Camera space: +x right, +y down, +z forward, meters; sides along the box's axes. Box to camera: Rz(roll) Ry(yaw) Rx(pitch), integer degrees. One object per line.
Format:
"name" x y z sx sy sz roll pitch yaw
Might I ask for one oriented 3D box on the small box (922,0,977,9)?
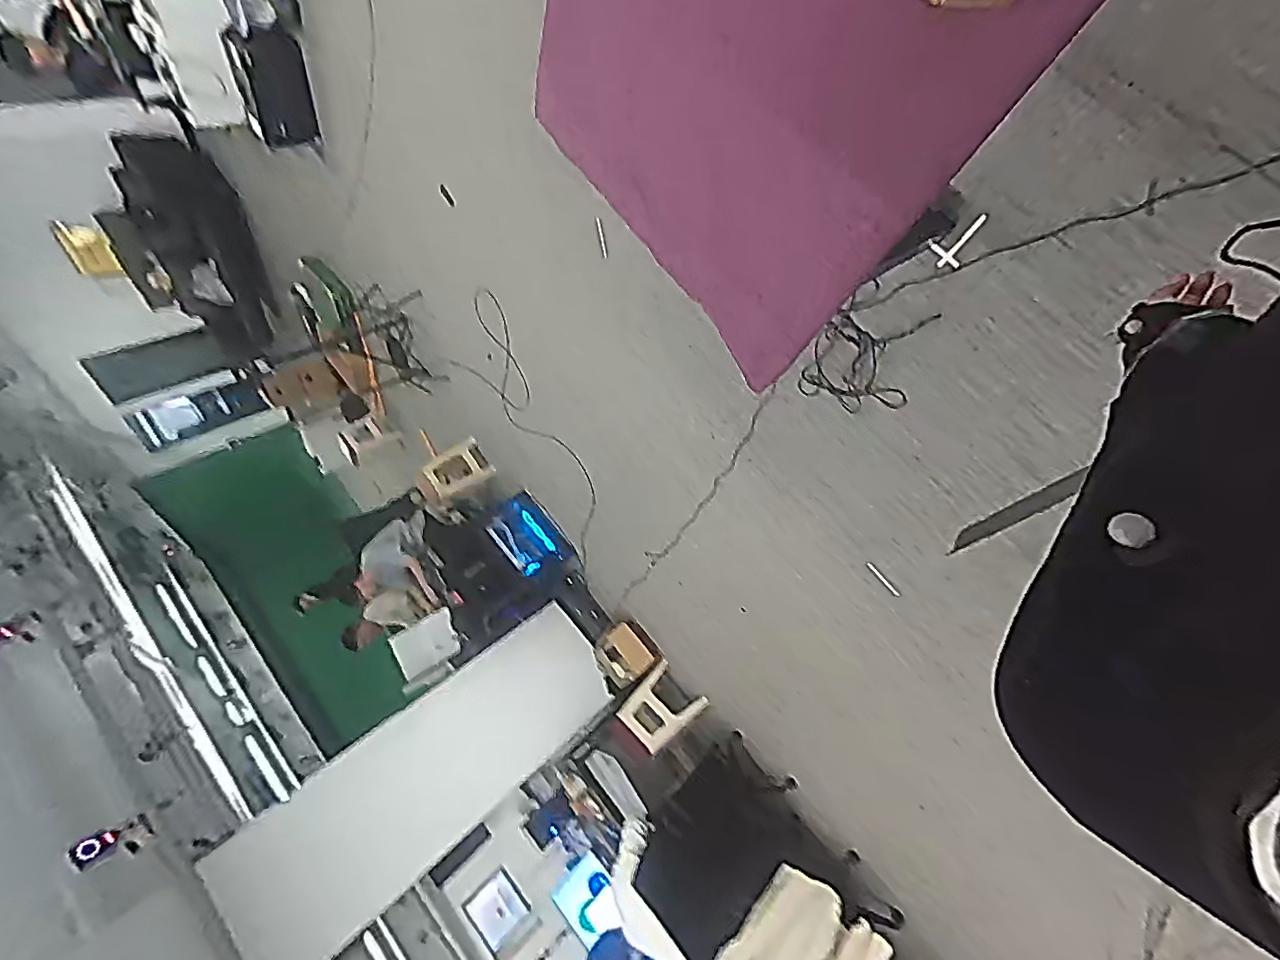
"small box" 0.243 -0.492 0.397 0.179 0.176 0.168 48 146 13
